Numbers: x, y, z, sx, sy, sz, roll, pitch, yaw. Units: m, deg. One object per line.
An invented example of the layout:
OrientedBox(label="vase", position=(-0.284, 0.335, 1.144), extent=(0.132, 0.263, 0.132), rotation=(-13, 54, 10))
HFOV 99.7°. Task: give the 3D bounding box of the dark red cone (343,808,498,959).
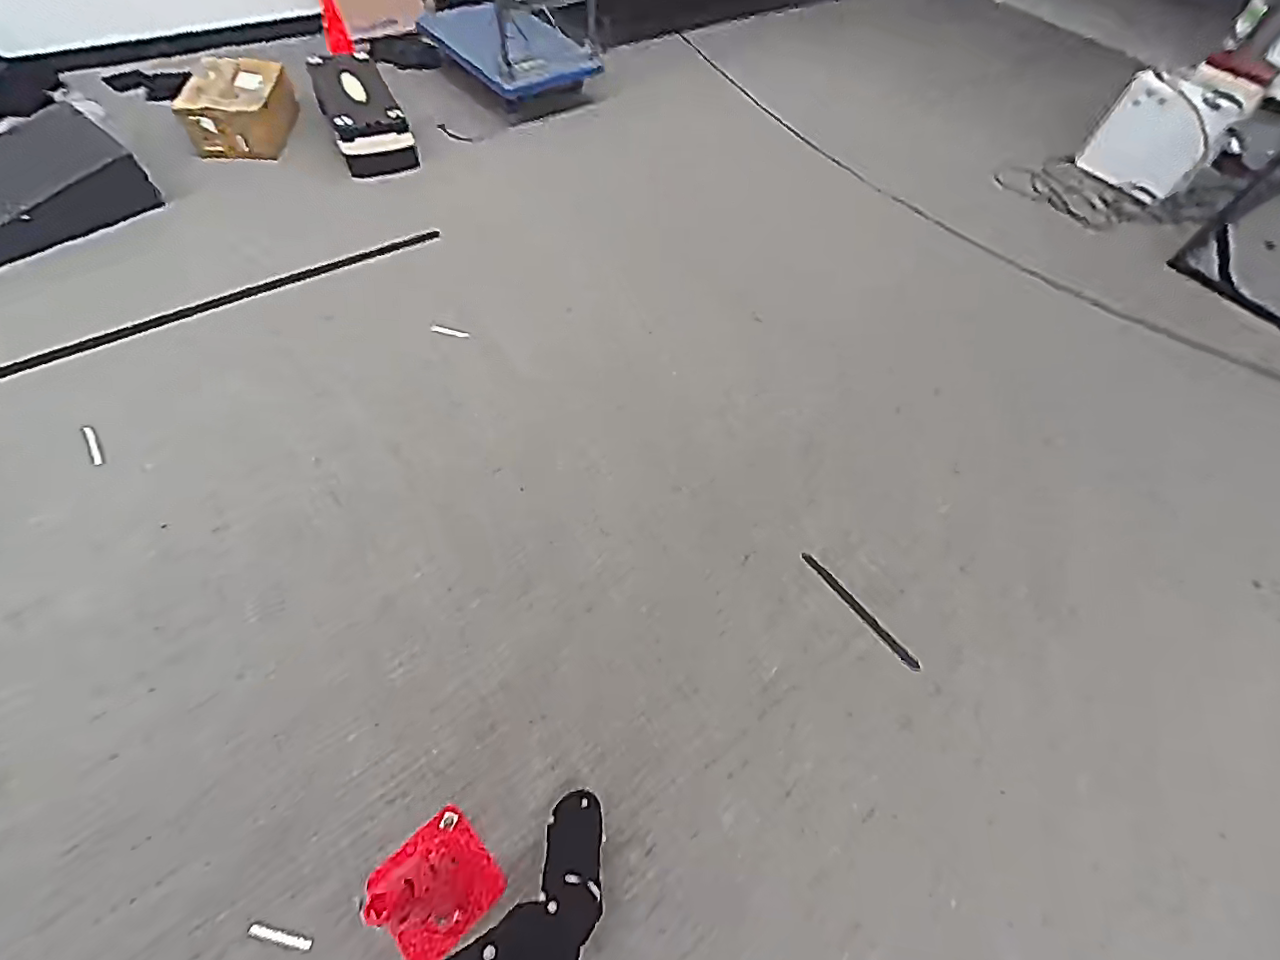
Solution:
OrientedBox(label="dark red cone", position=(-0.381, 0.675, 0.867), extent=(0.201, 0.394, 0.202), rotation=(-38, 68, -24))
